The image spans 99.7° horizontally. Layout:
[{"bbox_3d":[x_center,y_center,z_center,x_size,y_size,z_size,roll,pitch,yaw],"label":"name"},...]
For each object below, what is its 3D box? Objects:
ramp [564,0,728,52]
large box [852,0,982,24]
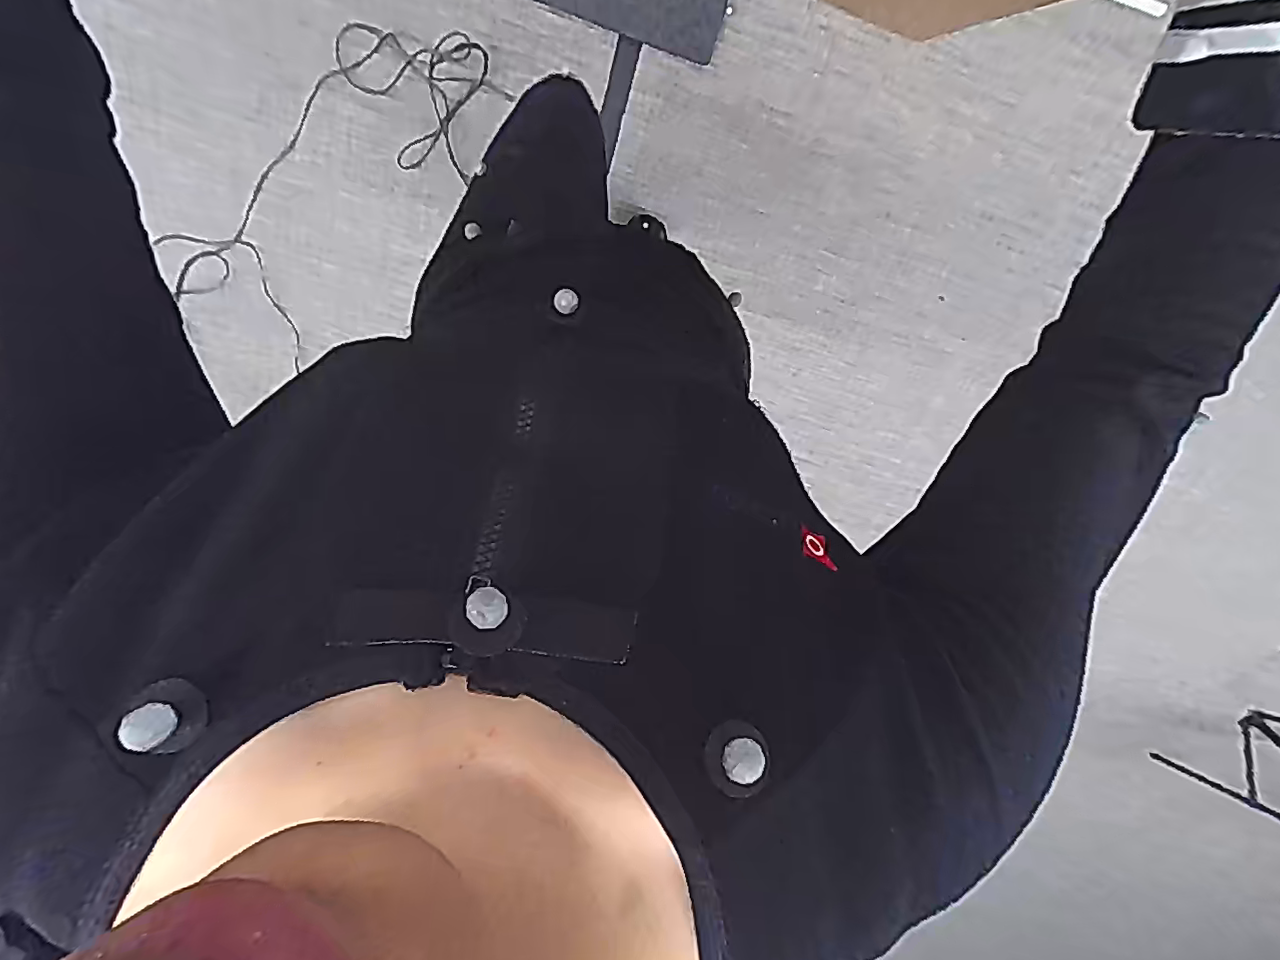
[{"bbox_3d":[0.059,-1.315,0.793,0.509,0.206,0.991,13,118,-8],"label":"ramp"},{"bbox_3d":[0.077,-0.458,0.215,0.408,0.320,0.320,16,125,-8],"label":"large box"}]
